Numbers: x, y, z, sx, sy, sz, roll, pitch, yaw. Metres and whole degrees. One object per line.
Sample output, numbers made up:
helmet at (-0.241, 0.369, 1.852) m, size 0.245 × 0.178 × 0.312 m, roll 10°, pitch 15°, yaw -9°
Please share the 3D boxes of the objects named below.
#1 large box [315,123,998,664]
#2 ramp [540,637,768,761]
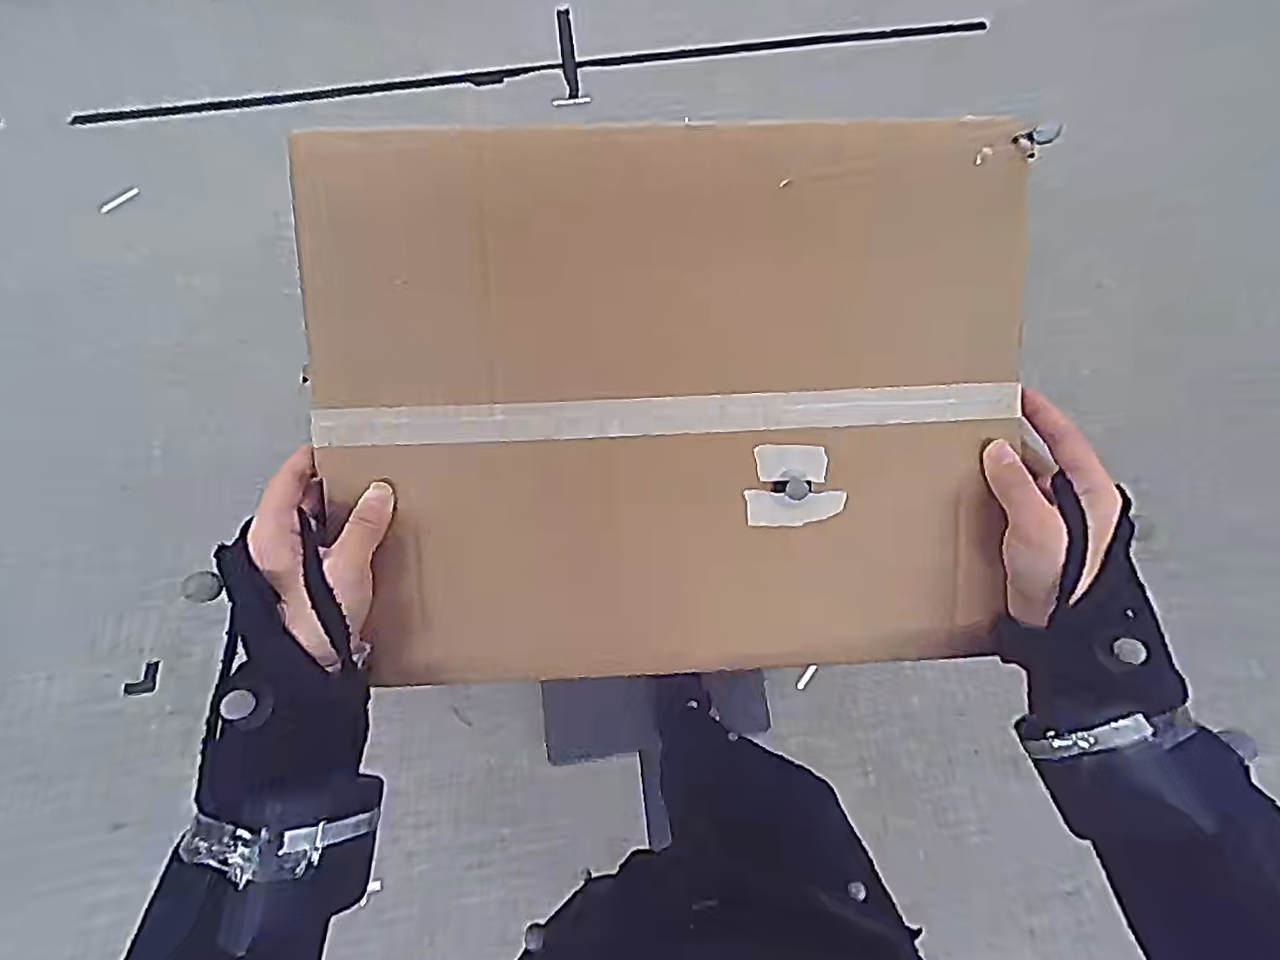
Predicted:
large box at (0.012, -0.063, 0.475) m, size 0.408 × 0.320 × 0.320 m, roll -3°, pitch 97°, yaw -2°
ramp at (-0.020, 0.094, 1.272) m, size 0.509 × 0.206 × 0.991 m, roll -9°, pitch 69°, yaw -4°
